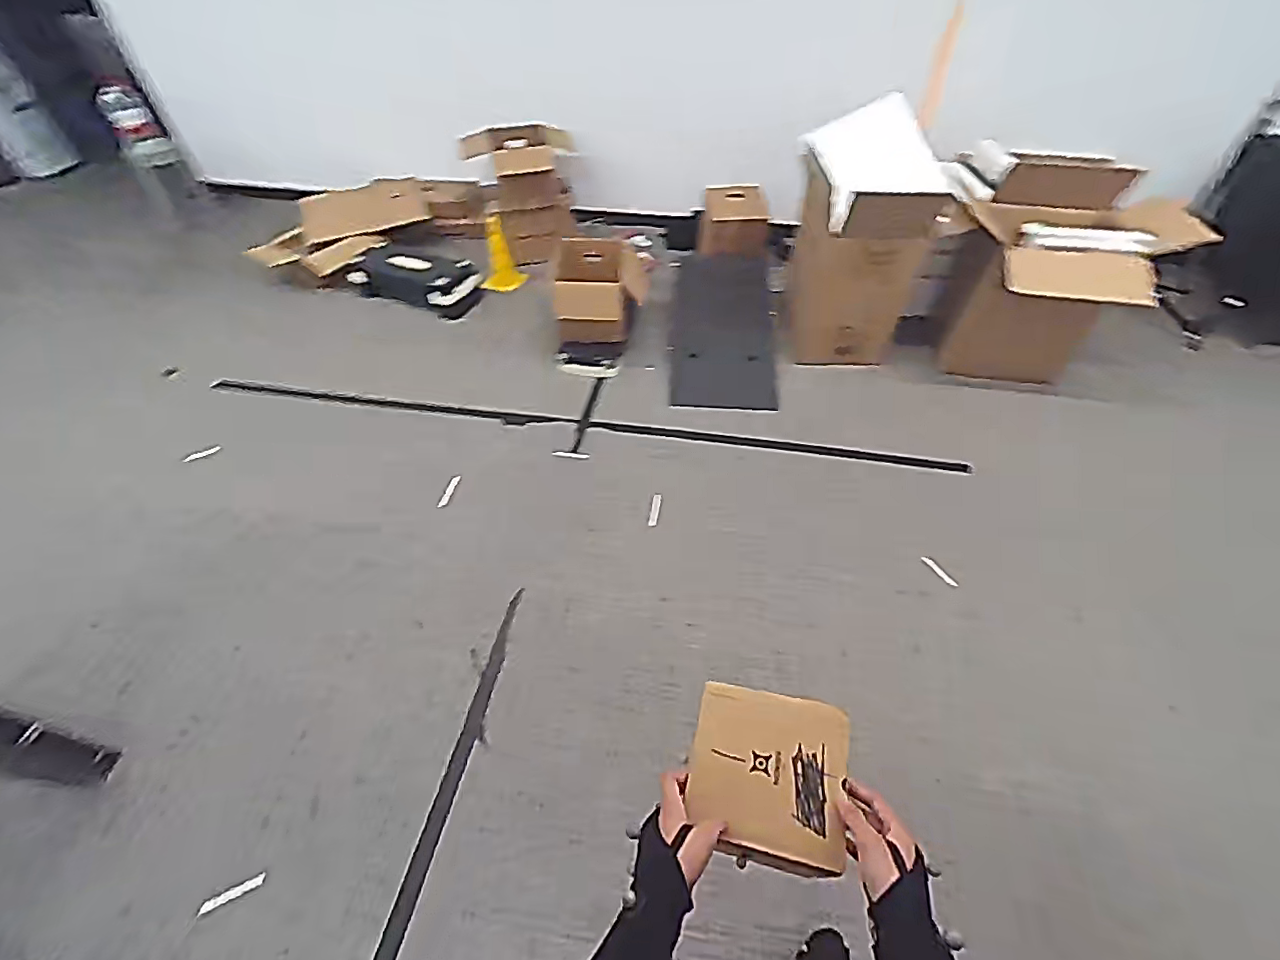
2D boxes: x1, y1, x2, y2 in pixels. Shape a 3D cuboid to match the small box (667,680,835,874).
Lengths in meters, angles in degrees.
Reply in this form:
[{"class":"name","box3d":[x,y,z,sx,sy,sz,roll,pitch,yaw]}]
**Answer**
[{"class":"small box","box3d":[0.135,0.377,0.685,0.179,0.176,0.168,9,54,10]}]
